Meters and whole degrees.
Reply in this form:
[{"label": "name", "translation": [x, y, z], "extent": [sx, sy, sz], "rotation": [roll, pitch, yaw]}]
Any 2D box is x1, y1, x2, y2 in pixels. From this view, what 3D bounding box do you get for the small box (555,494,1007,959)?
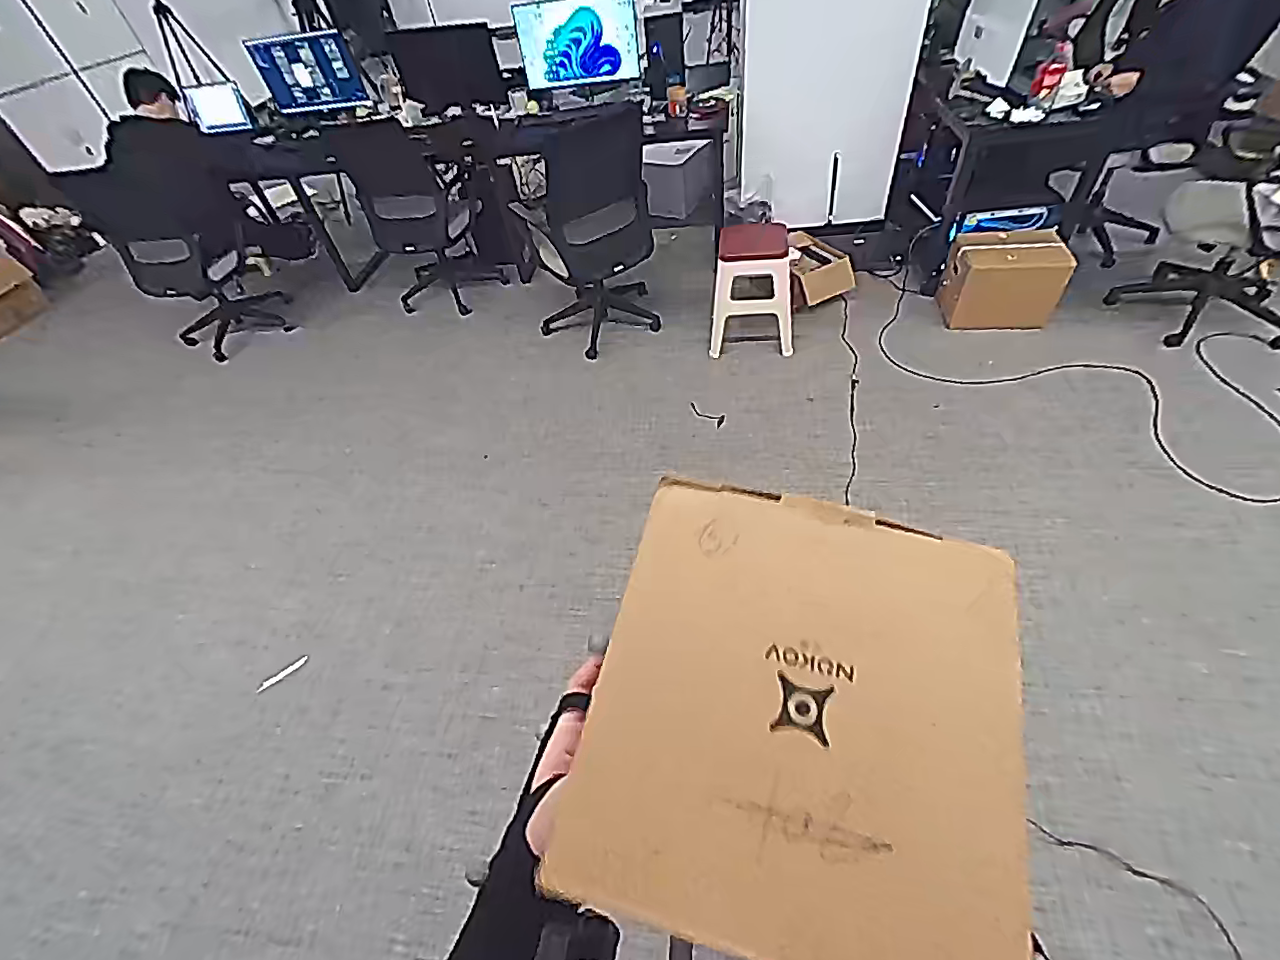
[{"label": "small box", "translation": [0.067, 0.135, 0.300], "extent": [0.168, 0.176, 0.179], "rotation": [12, 64, 8]}]
